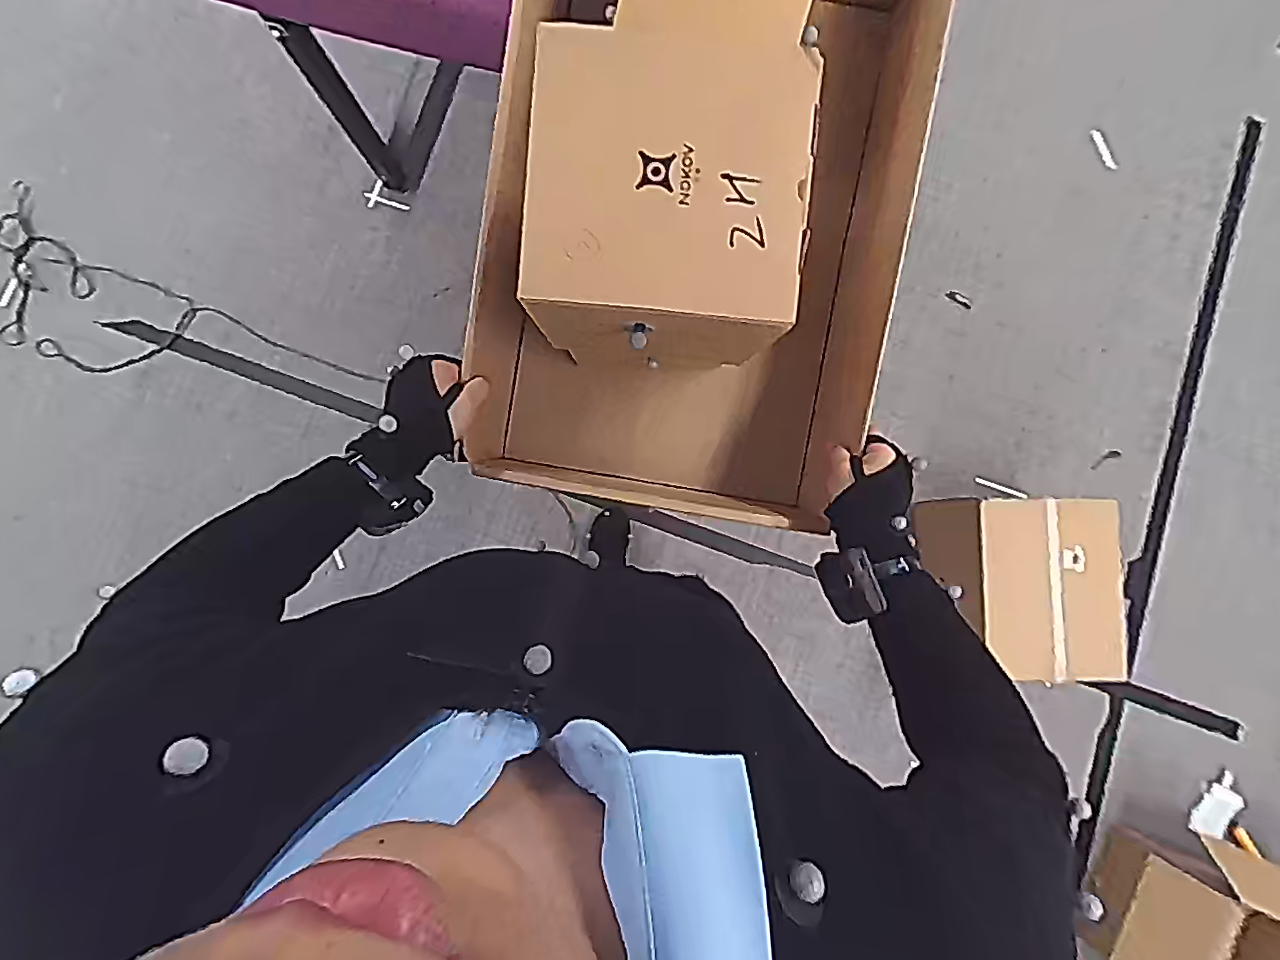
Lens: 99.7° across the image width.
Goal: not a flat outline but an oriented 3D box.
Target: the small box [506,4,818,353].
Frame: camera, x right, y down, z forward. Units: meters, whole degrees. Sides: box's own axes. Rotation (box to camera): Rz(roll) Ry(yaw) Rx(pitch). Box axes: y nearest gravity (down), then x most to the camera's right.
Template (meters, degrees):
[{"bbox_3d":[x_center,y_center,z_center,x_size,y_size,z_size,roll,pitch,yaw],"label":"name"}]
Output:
[{"bbox_3d":[0.011,-0.195,0.403,0.179,0.176,0.168,5,94,-2],"label":"small box"}]

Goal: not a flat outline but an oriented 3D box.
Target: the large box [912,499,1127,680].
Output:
[{"bbox_3d":[0.912,0.257,1.349,0.320,0.320,0.408,1,84,-1],"label":"large box"}]
